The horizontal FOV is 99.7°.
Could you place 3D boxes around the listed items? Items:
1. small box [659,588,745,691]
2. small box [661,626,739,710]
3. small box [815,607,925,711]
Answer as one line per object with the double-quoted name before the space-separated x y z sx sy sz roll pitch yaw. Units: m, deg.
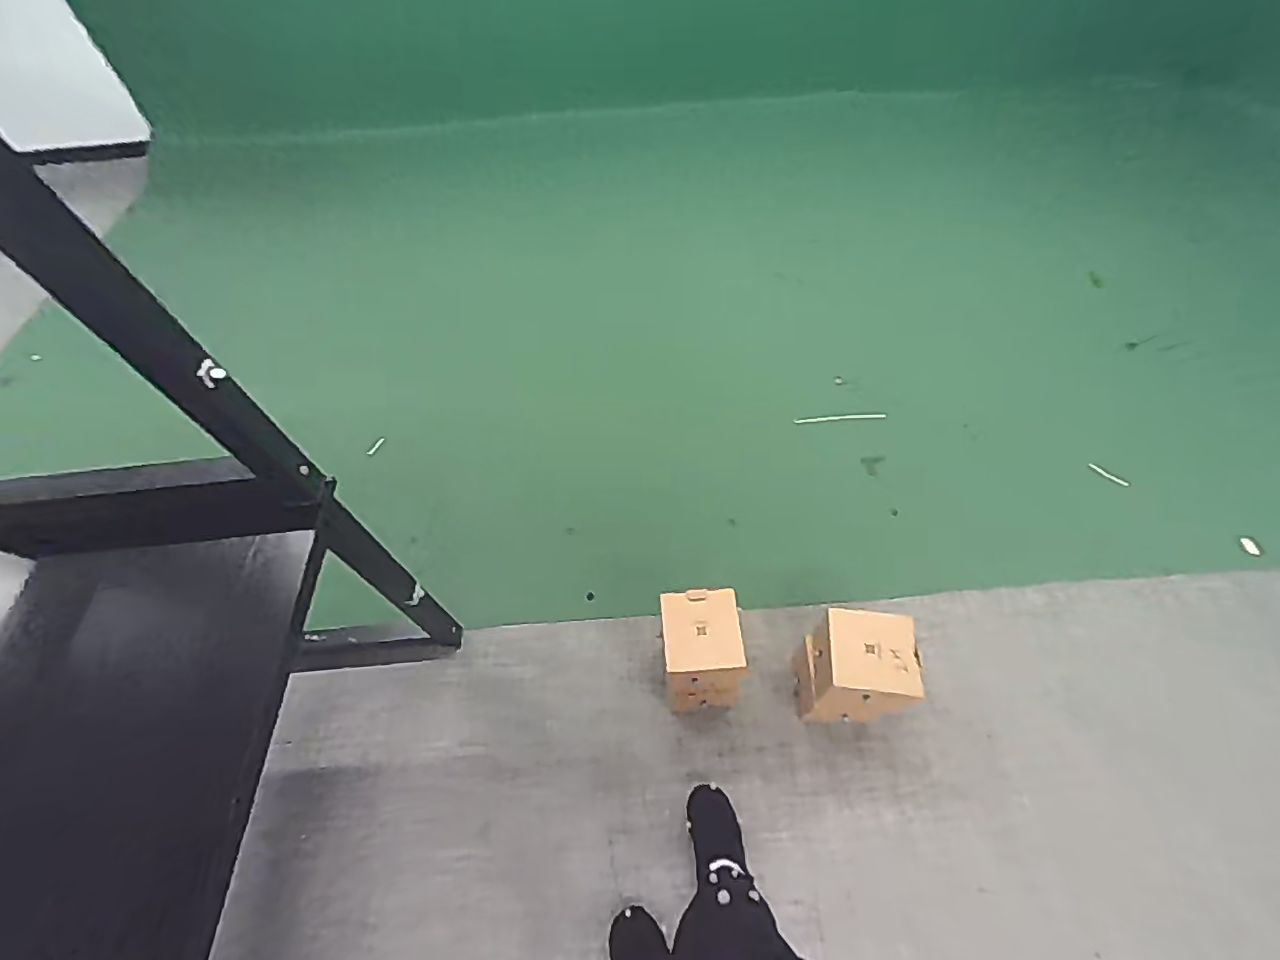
"small box" 0.135 0.361 1.204 0.168 0.176 0.179 -6 54 0
"small box" 0.144 0.460 1.333 0.168 0.176 0.179 -6 55 0
"small box" 0.480 0.388 1.161 0.179 0.176 0.168 5 57 6
